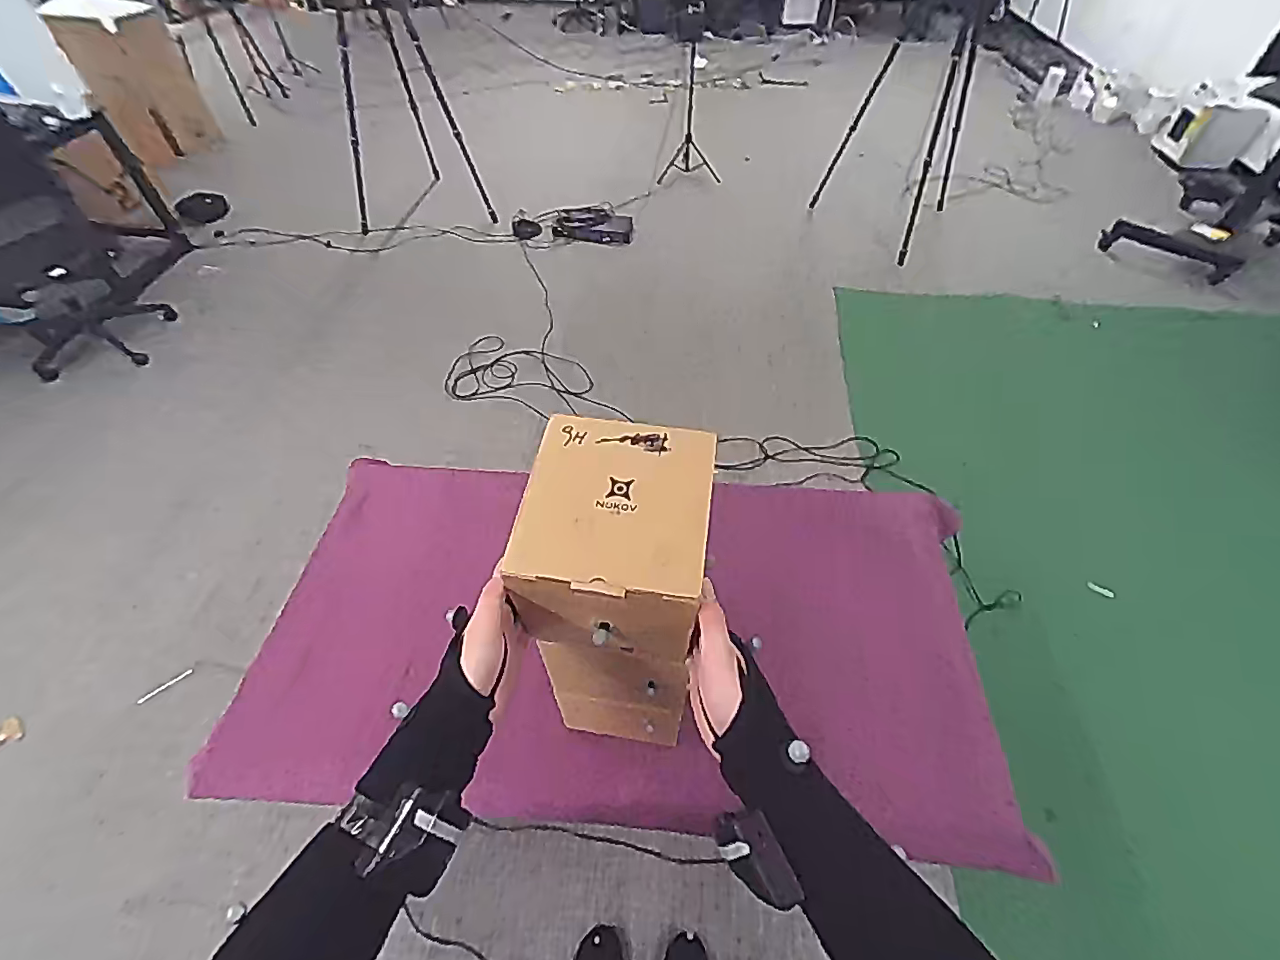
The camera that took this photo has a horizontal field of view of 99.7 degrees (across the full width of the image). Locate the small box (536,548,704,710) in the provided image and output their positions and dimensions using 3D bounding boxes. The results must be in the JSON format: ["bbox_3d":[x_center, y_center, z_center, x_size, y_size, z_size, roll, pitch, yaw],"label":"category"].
[{"bbox_3d":[-0.017,0.184,0.703,0.179,0.176,0.168,7,50,7],"label":"small box"}]

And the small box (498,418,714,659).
[{"bbox_3d":[-0.021,0.064,0.541,0.168,0.176,0.179,7,56,6],"label":"small box"}]
